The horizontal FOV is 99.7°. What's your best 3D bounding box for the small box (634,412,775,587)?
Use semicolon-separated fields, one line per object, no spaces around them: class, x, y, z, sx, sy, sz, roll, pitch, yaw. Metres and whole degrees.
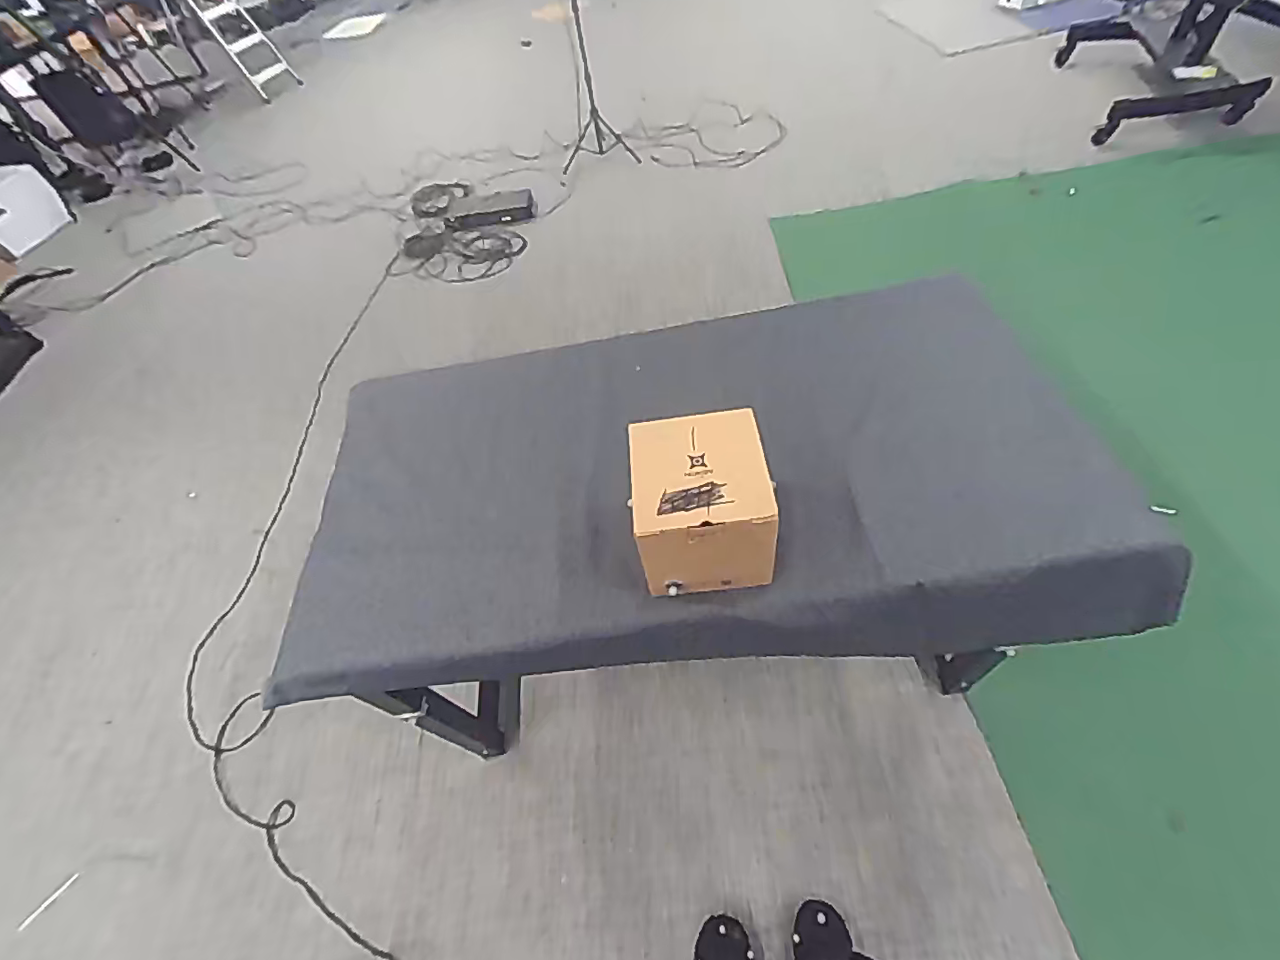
small box;0.085;0.035;0.734;0.168;0.176;0.179;-6;52;5
